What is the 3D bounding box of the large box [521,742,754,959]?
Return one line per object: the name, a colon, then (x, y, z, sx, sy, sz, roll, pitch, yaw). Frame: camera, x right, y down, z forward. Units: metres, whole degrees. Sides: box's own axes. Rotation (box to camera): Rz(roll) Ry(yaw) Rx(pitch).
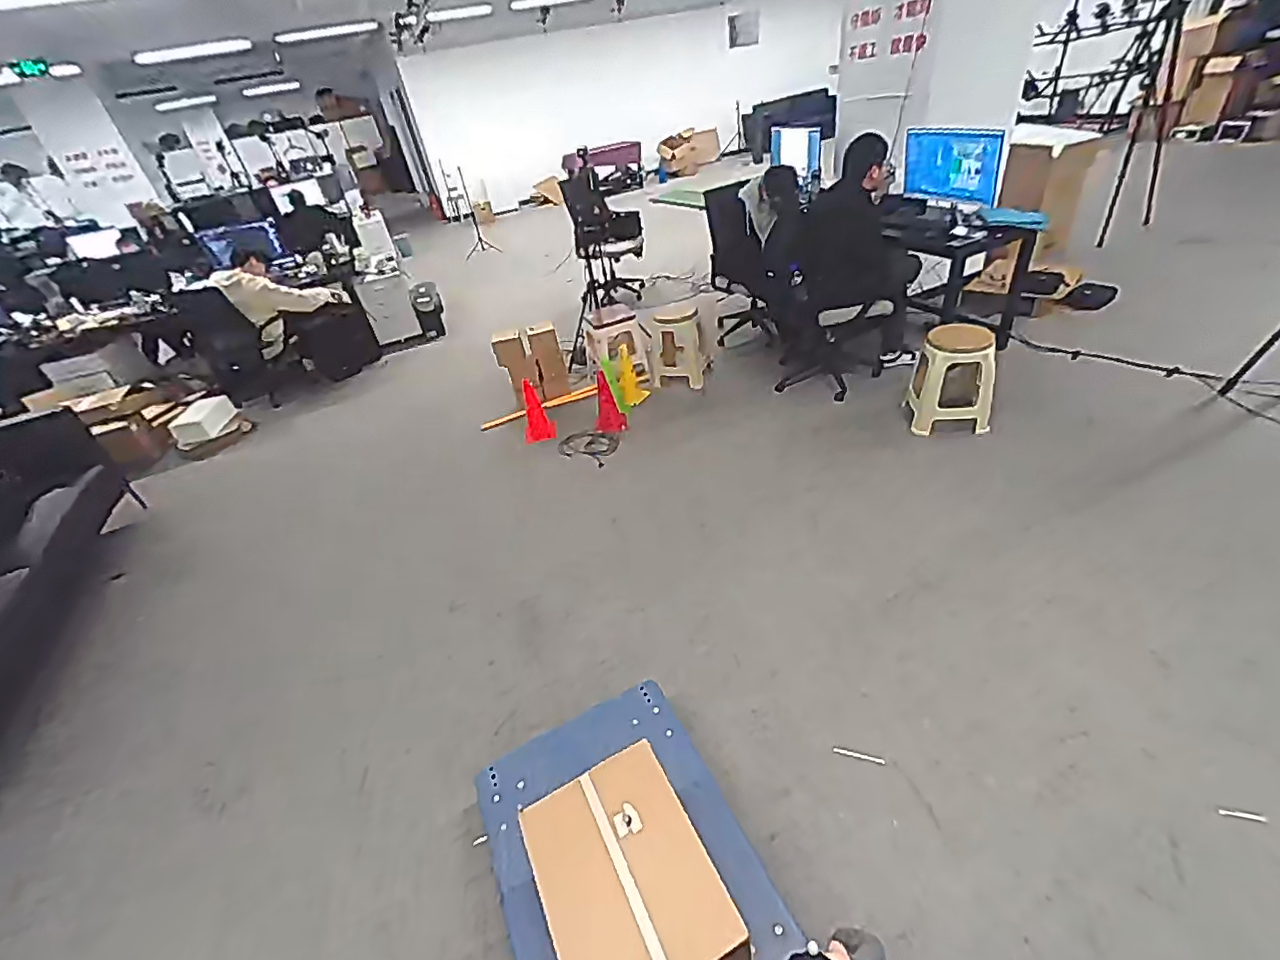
large box: (-0.006, 0.865, 1.131, 0.320, 0.320, 0.408, -24, 38, -16)
